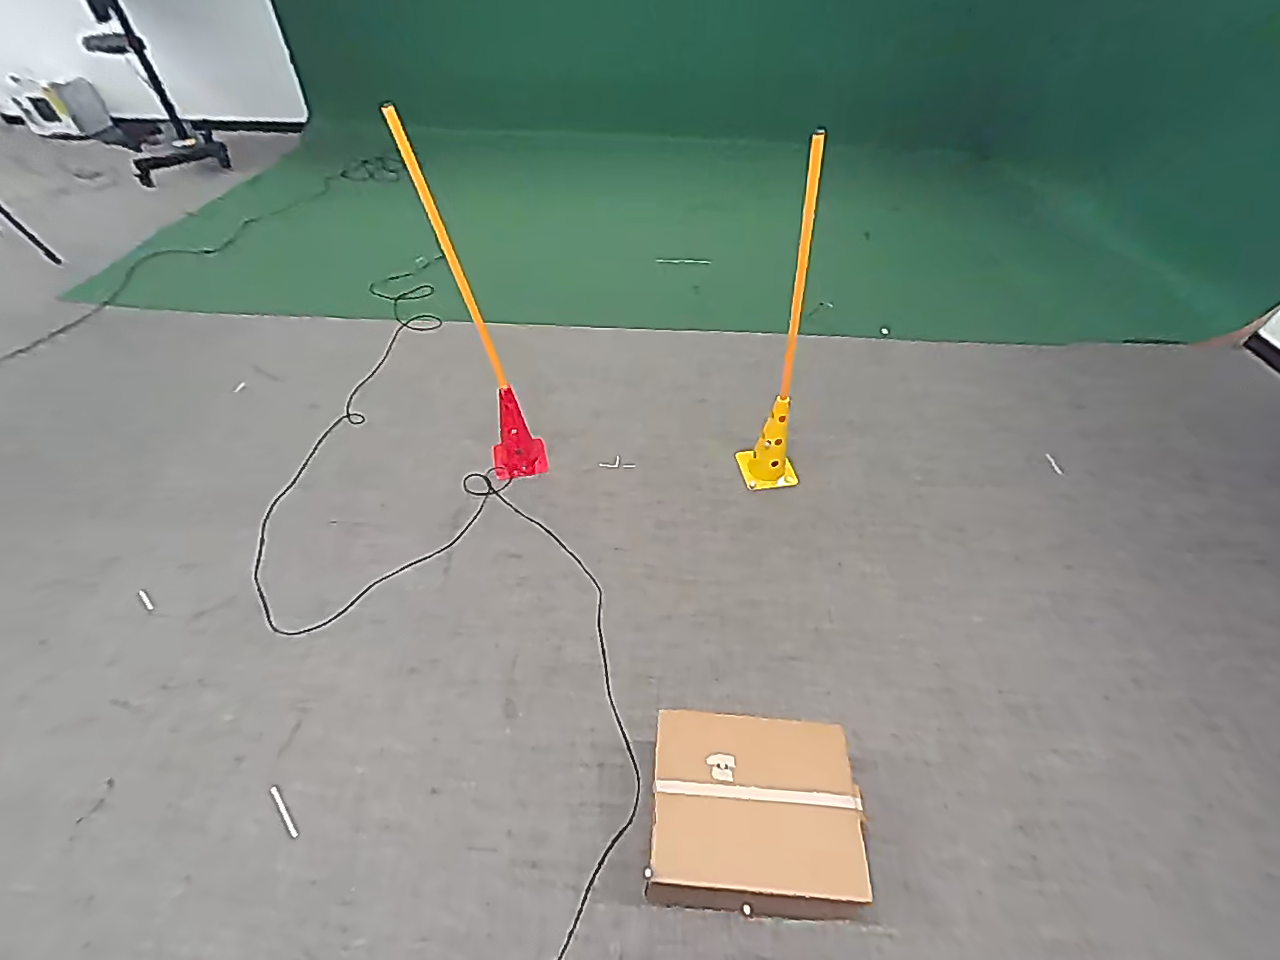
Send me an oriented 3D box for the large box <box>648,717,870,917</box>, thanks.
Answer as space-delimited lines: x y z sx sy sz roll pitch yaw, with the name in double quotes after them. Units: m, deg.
0.228 0.744 1.188 0.408 0.320 0.320 3 46 3 "large box"
